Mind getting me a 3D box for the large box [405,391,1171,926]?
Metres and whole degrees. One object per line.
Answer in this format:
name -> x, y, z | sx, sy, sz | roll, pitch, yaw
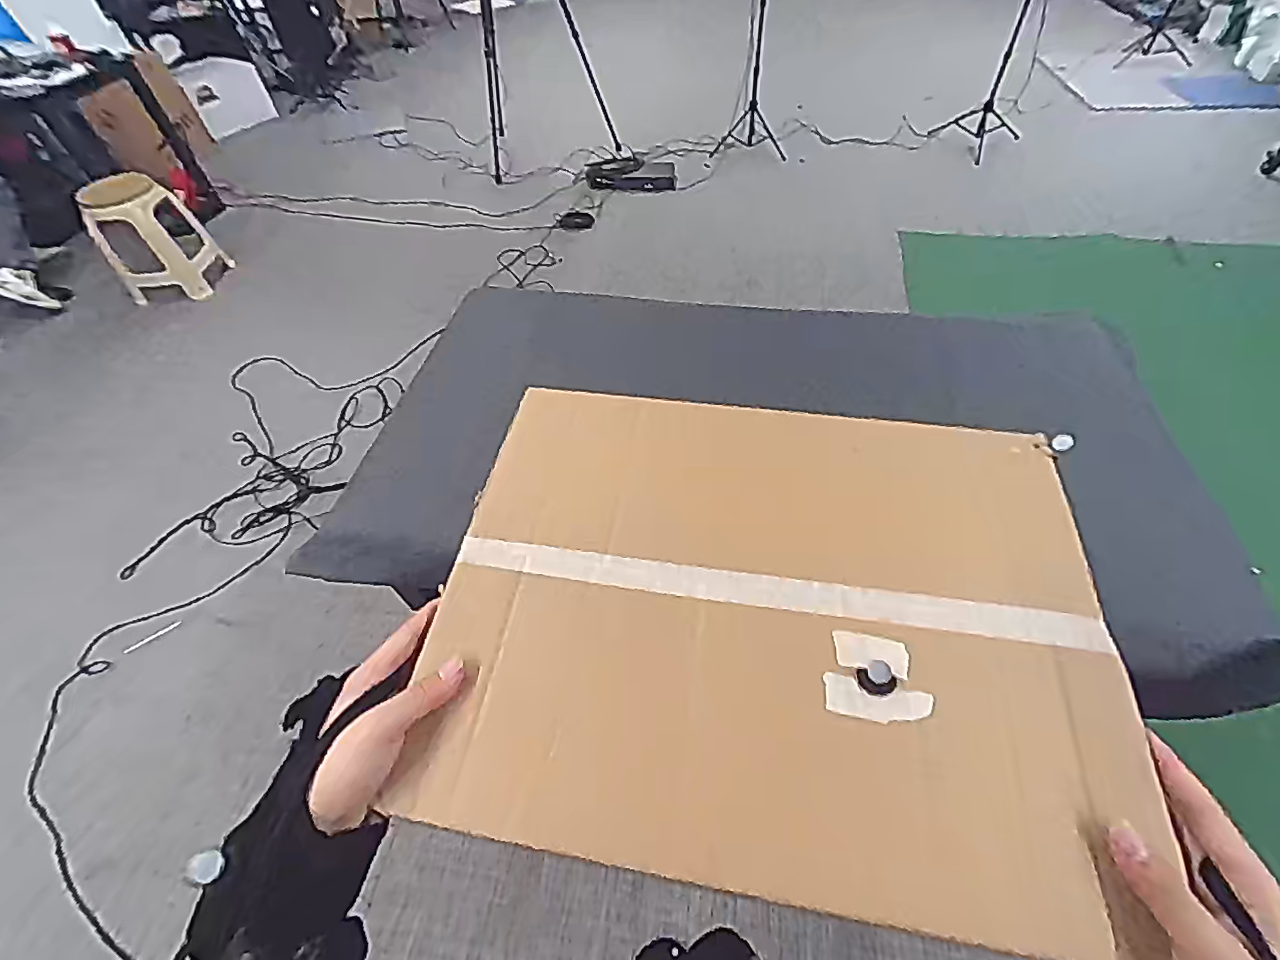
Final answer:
large box -> 0.087, 0.151, 0.485 | 0.408, 0.320, 0.320 | 7, 57, 7
